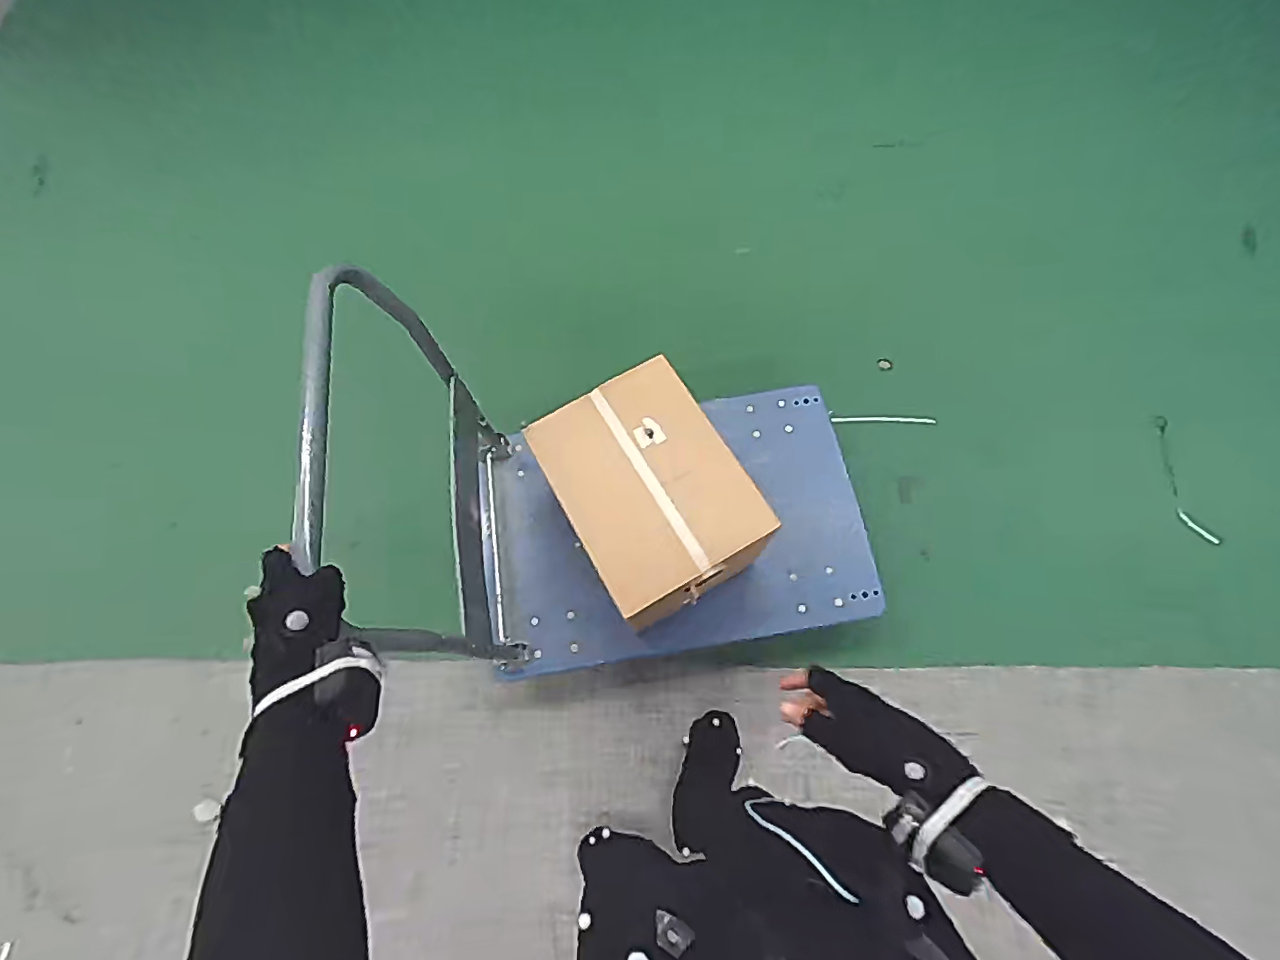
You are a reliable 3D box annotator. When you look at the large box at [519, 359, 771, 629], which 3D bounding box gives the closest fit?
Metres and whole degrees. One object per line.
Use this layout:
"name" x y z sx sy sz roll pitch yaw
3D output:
"large box" 0.011 0.044 1.113 0.320 0.320 0.408 -29 70 -7
